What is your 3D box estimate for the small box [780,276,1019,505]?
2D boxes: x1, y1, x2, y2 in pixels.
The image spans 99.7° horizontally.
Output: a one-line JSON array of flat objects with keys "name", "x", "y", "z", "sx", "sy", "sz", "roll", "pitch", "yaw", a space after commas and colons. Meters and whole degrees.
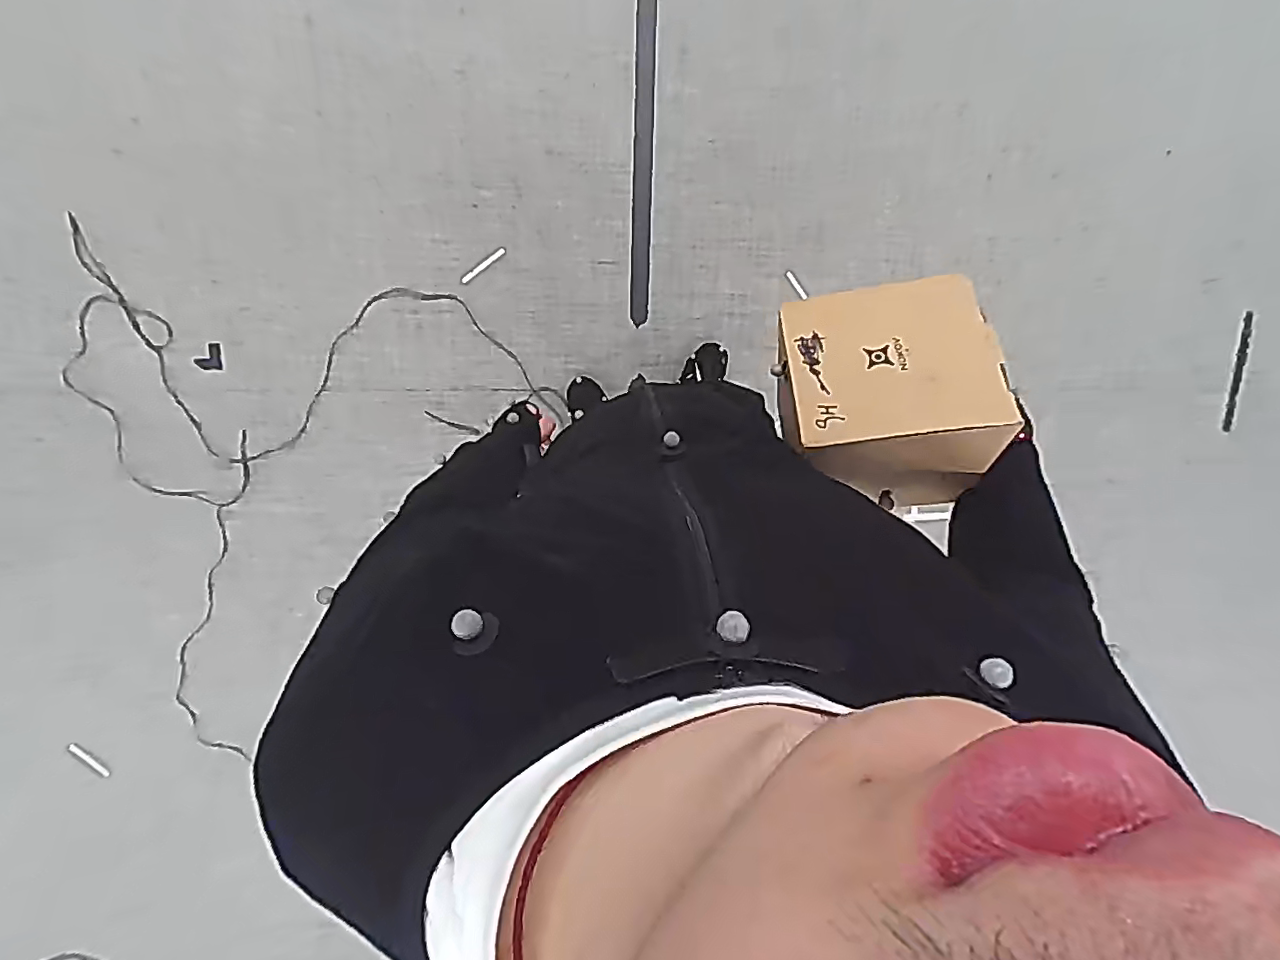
[{"name": "small box", "x": 0.249, "y": -0.083, "z": 0.570, "sx": 0.179, "sy": 0.176, "sz": 0.168, "roll": -5, "pitch": 64, "yaw": 10}]
